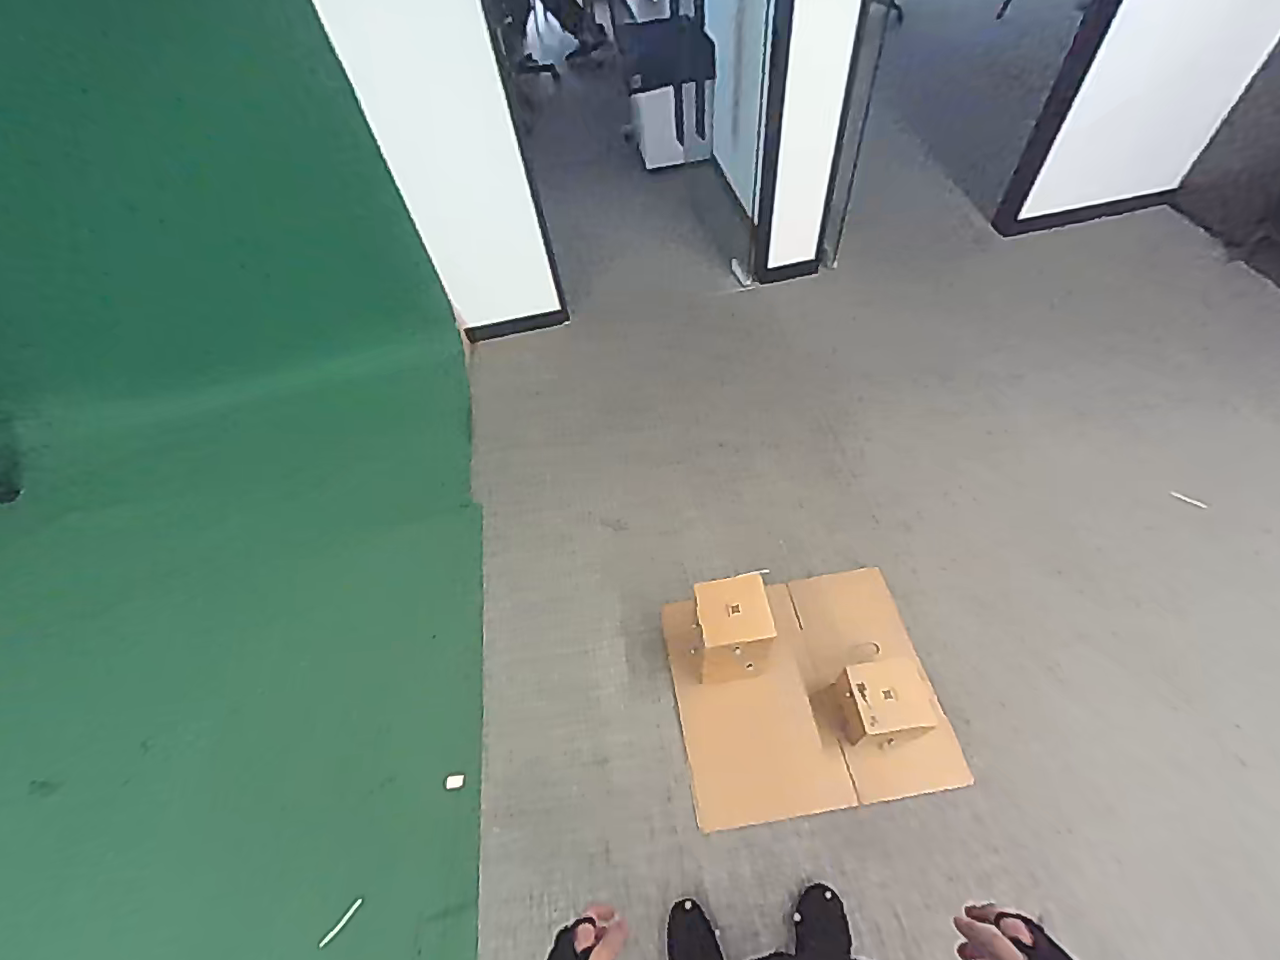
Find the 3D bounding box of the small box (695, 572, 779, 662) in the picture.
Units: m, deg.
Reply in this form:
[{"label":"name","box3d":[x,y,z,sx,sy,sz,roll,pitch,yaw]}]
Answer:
[{"label":"small box","box3d":[0.240,0.354,1.382,0.179,0.176,0.168,-9,55,1]}]

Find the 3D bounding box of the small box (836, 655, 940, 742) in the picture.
[{"label":"small box","box3d":[0.626,0.565,1.390,0.179,0.176,0.168,-8,55,2]}]

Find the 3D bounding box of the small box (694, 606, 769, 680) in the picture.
[{"label":"small box","box3d":[0.250,0.447,1.514,0.179,0.176,0.168,-9,54,1]}]
